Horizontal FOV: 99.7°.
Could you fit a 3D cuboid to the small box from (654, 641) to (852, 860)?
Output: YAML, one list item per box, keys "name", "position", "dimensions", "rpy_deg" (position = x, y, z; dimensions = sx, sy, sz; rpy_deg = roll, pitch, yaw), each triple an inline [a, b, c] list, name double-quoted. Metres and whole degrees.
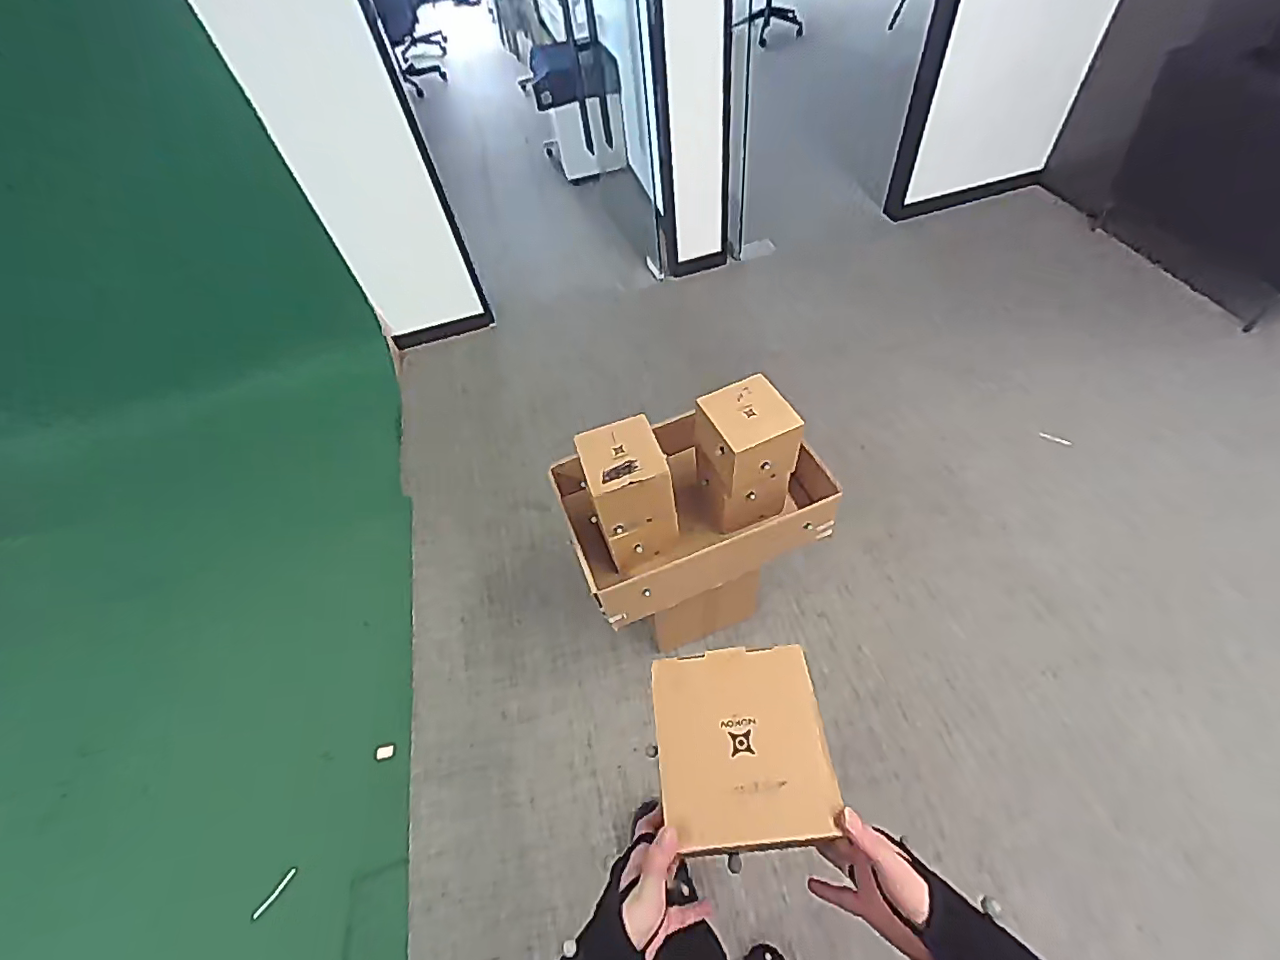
- name: "small box"
  position: [0.106, 0.295, 0.584]
  dimensions: [0.168, 0.176, 0.179]
  rpy_deg: [-7, 53, 2]

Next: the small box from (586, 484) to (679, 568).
- name: "small box"
  position: [-0.014, 0.091, 1.297]
  dimensions: [0.168, 0.176, 0.179]
  rpy_deg: [-21, 53, -7]

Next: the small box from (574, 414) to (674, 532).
- name: "small box"
  position: [-0.030, -0.007, 1.167]
  dimensions: [0.168, 0.176, 0.179]
  rpy_deg: [-17, 52, -5]

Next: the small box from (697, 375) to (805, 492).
- name: "small box"
  position: [0.239, -0.095, 1.194]
  dimensions: [0.168, 0.176, 0.179]
  rpy_deg: [-22, 54, -10]
